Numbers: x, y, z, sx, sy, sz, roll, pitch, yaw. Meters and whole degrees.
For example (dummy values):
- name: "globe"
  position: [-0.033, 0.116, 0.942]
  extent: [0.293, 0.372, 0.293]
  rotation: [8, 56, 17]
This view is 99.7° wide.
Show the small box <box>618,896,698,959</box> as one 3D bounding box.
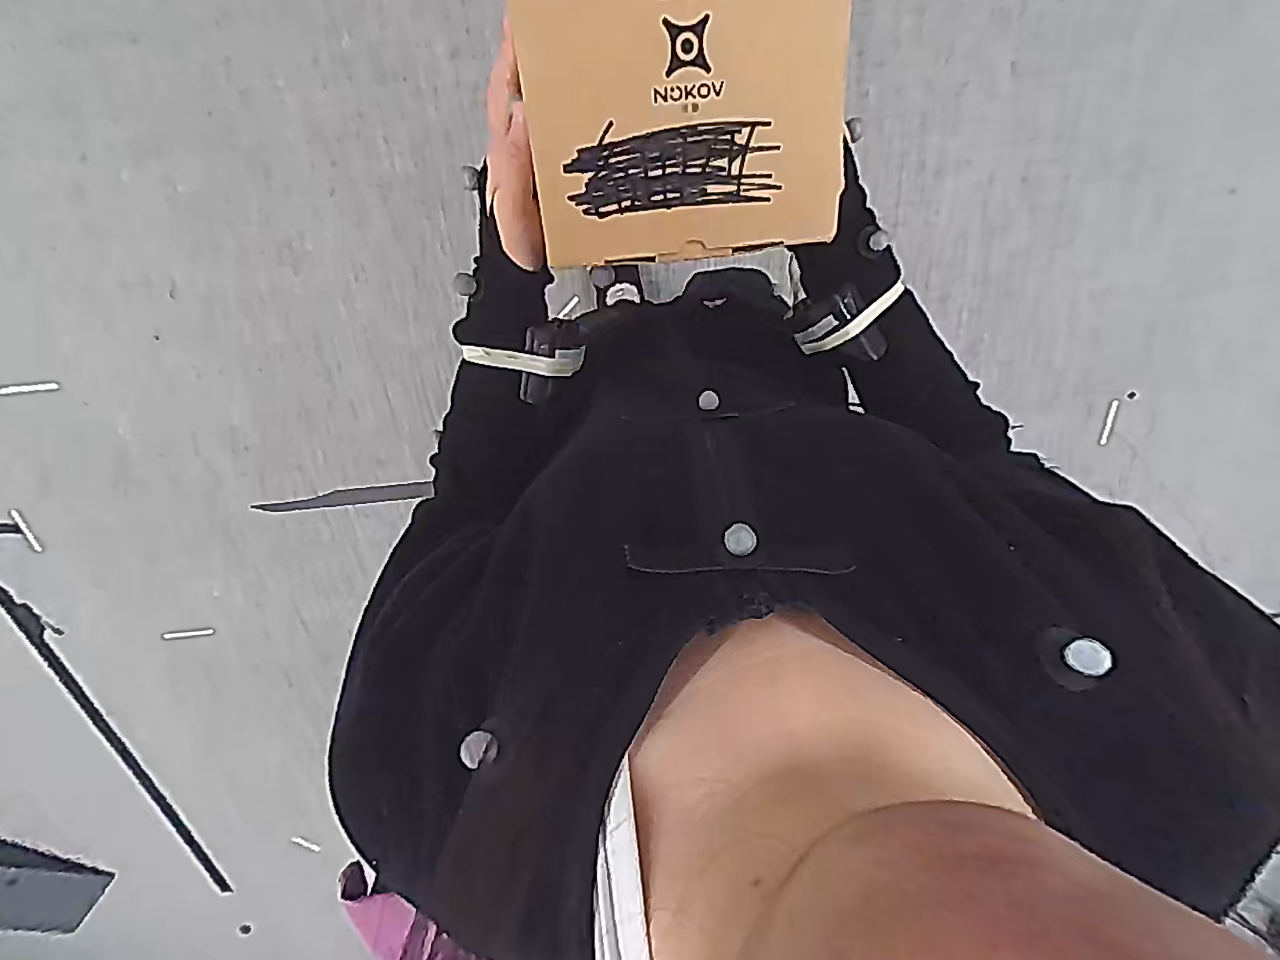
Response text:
- name: "small box"
  position: [0.040, 1.047, 1.173]
  extent: [0.168, 0.176, 0.179]
  rotation: [-5, 116, -4]
